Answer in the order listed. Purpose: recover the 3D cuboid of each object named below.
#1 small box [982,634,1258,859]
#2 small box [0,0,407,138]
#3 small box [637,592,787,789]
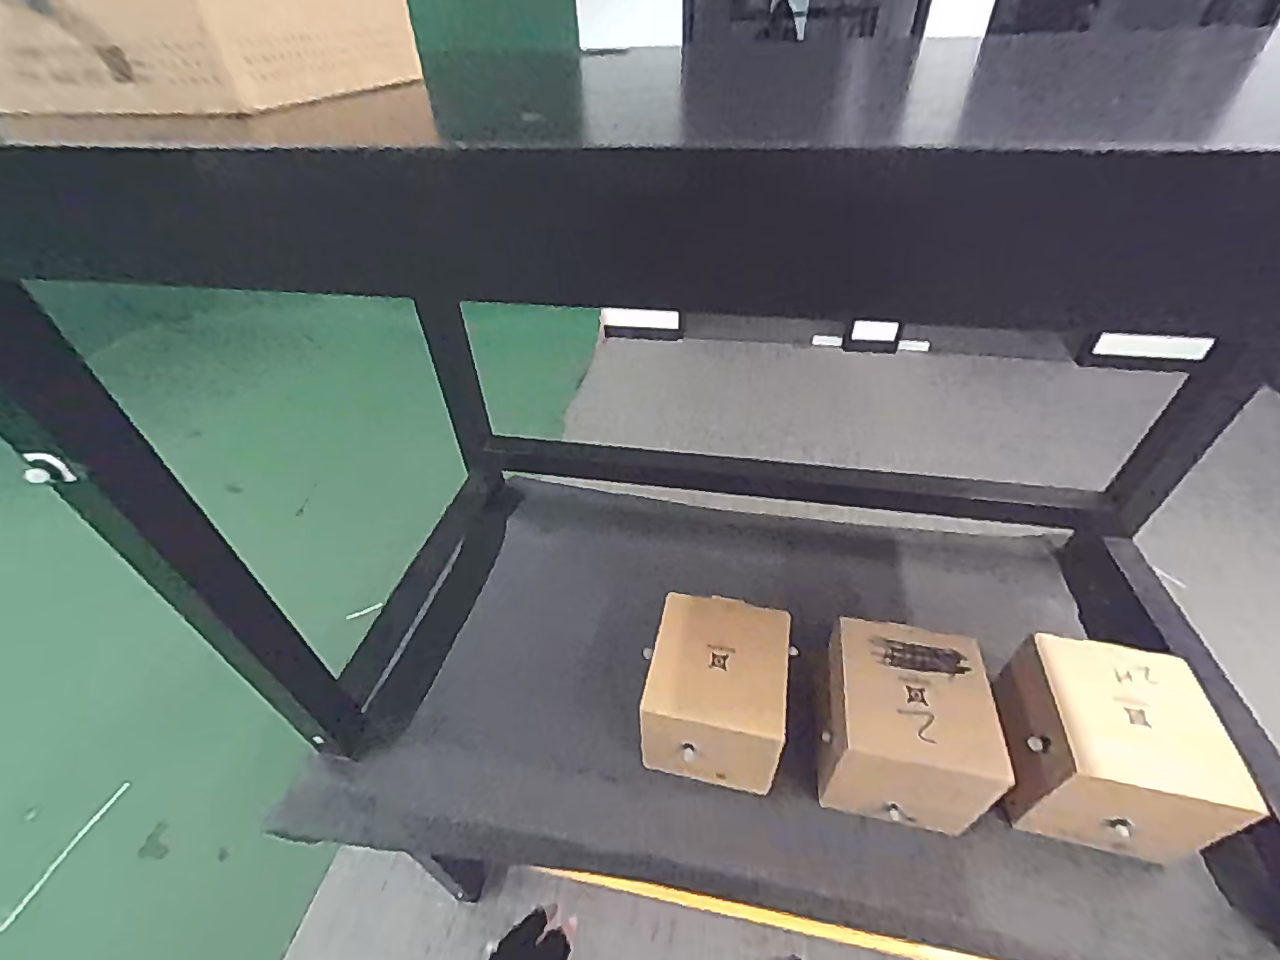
[{"bbox_3d":[0.545,0.320,0.651,0.168,0.176,0.179,9,41,12],"label":"small box"},{"bbox_3d":[-0.254,-0.301,0.294,0.168,0.176,0.179,7,42,10],"label":"small box"},{"bbox_3d":[0.100,0.280,0.723,0.168,0.176,0.179,7,41,12],"label":"small box"}]
